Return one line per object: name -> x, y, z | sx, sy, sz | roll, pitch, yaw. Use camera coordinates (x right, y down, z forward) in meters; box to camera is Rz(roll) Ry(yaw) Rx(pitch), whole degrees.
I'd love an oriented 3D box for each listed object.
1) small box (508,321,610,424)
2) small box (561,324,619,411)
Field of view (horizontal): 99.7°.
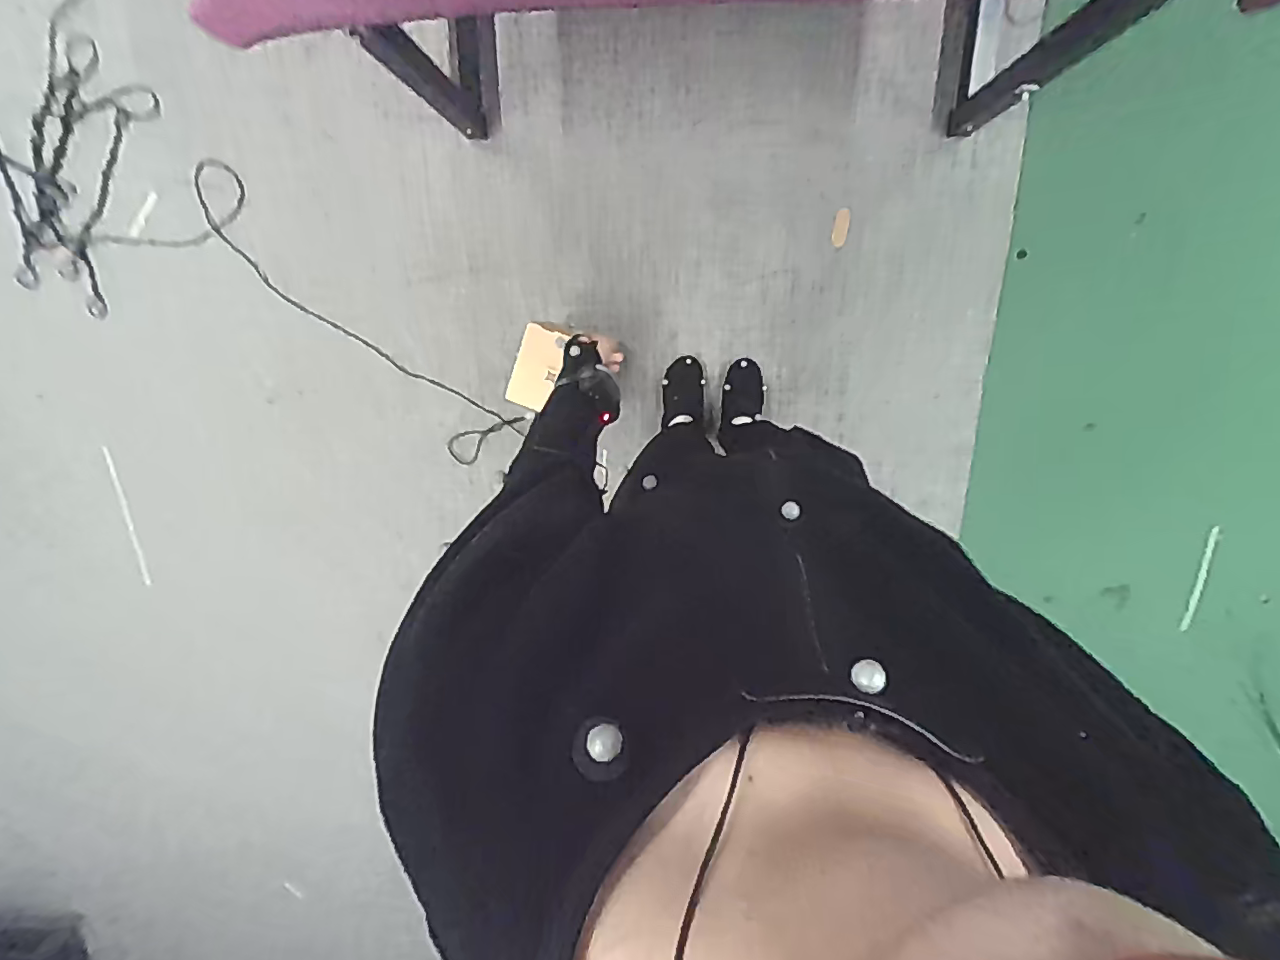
small box -> -0.176, -0.247, 1.225 | 0.168, 0.176, 0.179 | 21, 106, -1
small box -> -0.155, -0.293, 1.378 | 0.168, 0.176, 0.179 | 16, 107, 1
